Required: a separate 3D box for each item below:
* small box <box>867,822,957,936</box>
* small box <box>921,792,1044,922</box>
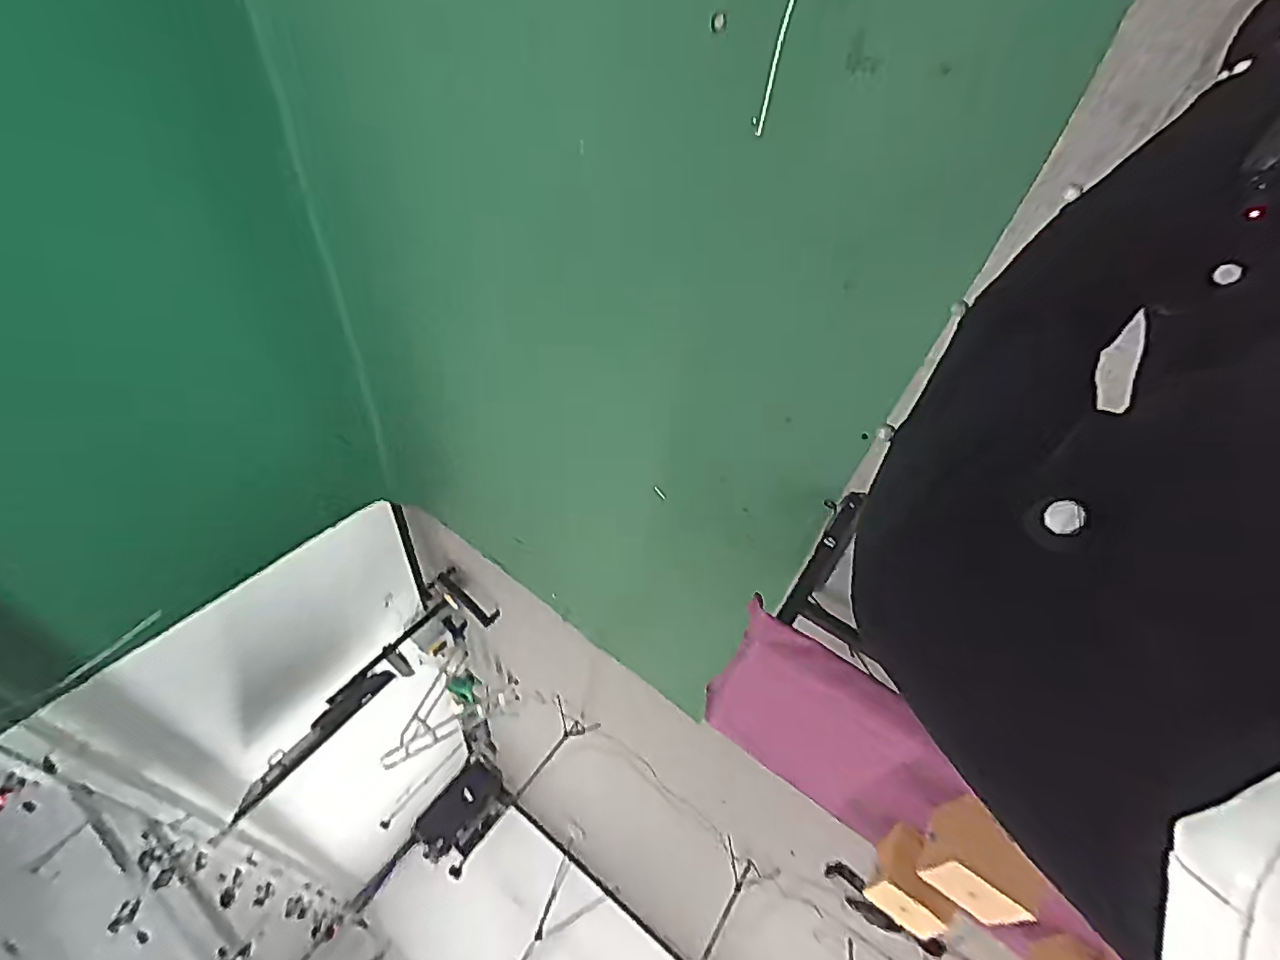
[{"bbox_3d":[0.744,1.071,1.457,0.168,0.176,0.179,28,137,23],"label":"small box"},{"bbox_3d":[0.782,0.856,1.233,0.168,0.176,0.179,31,140,18],"label":"small box"}]
